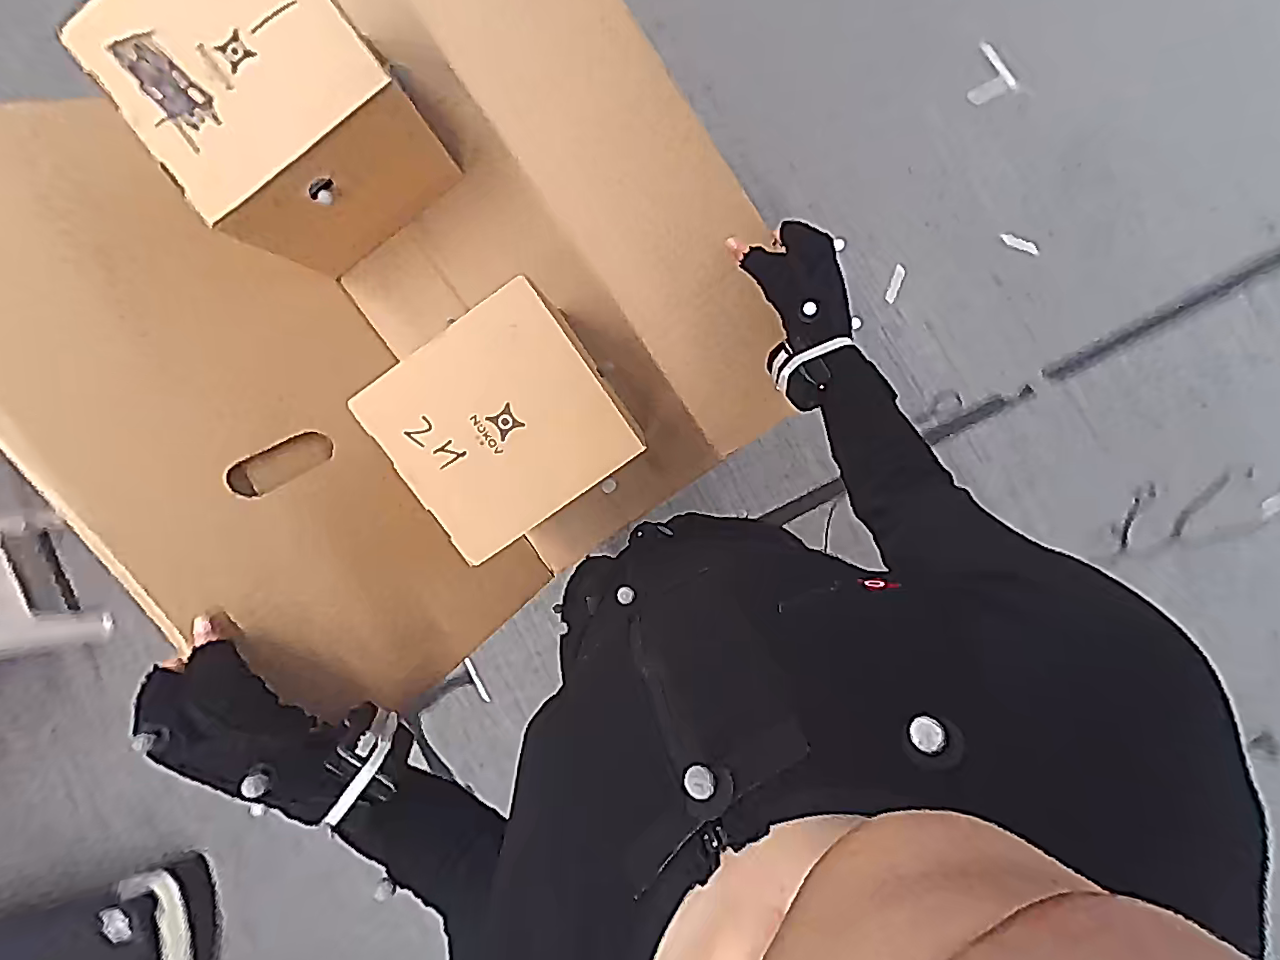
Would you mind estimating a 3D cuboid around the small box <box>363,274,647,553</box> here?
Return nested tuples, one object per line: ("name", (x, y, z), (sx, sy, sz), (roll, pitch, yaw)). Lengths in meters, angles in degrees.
("small box", (-0.109, -0.062, 0.516), (0.179, 0.176, 0.168), (-33, 96, 5))
